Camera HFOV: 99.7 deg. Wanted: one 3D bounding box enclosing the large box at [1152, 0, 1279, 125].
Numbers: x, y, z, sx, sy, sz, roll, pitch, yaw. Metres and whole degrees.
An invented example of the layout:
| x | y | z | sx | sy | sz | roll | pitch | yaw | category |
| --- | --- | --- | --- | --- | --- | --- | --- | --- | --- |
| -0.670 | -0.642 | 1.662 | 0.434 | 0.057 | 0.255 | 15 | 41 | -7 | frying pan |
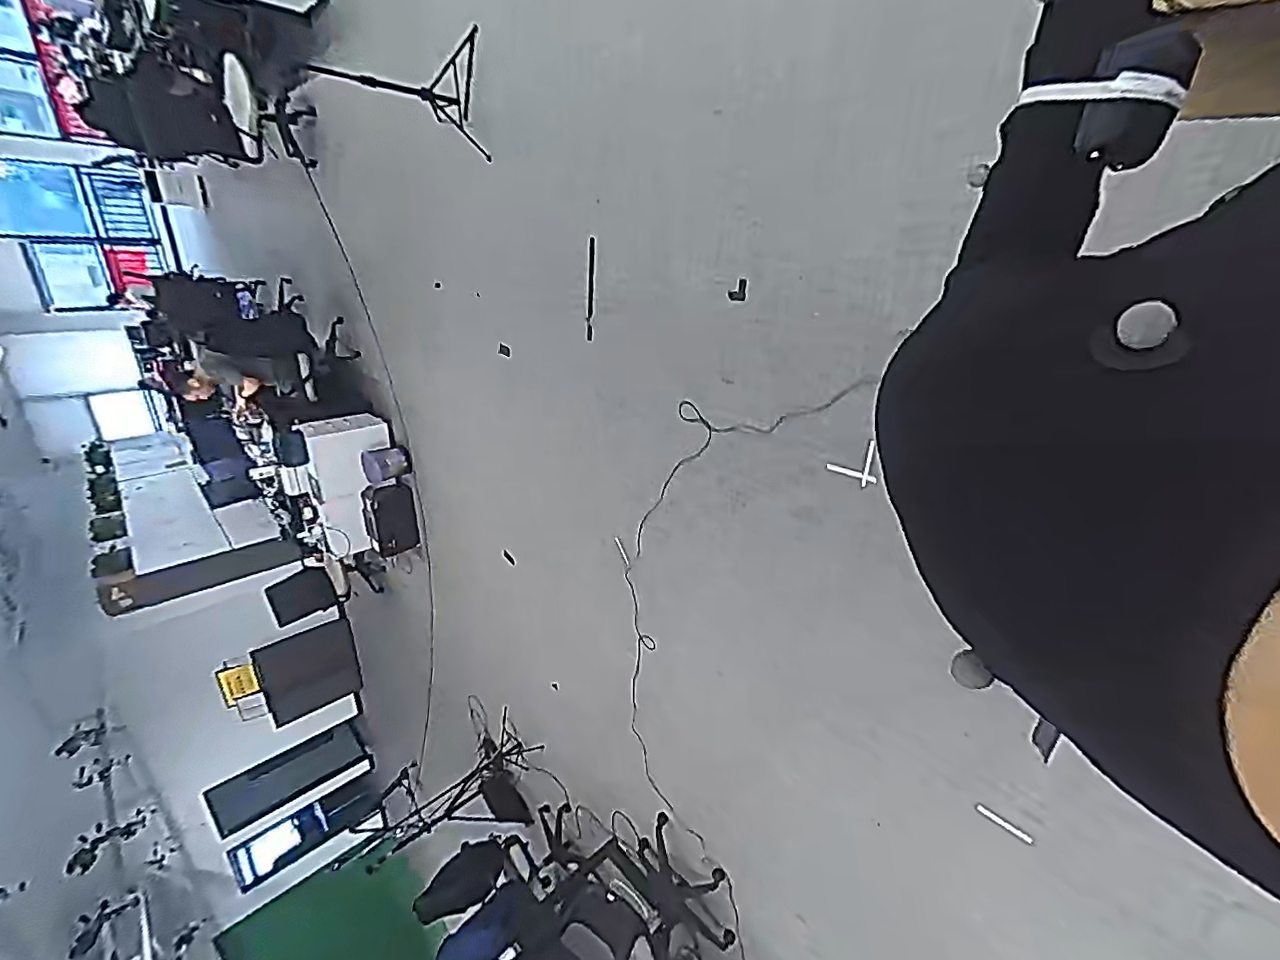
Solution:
| x | y | z | sx | sy | sz | roll | pitch | yaw | category |
| --- | --- | --- | --- | --- | --- | --- | --- | --- | --- |
| 0.570 | -0.401 | 0.265 | 0.408 | 0.320 | 0.320 | 23 | 120 | 37 | large box |
